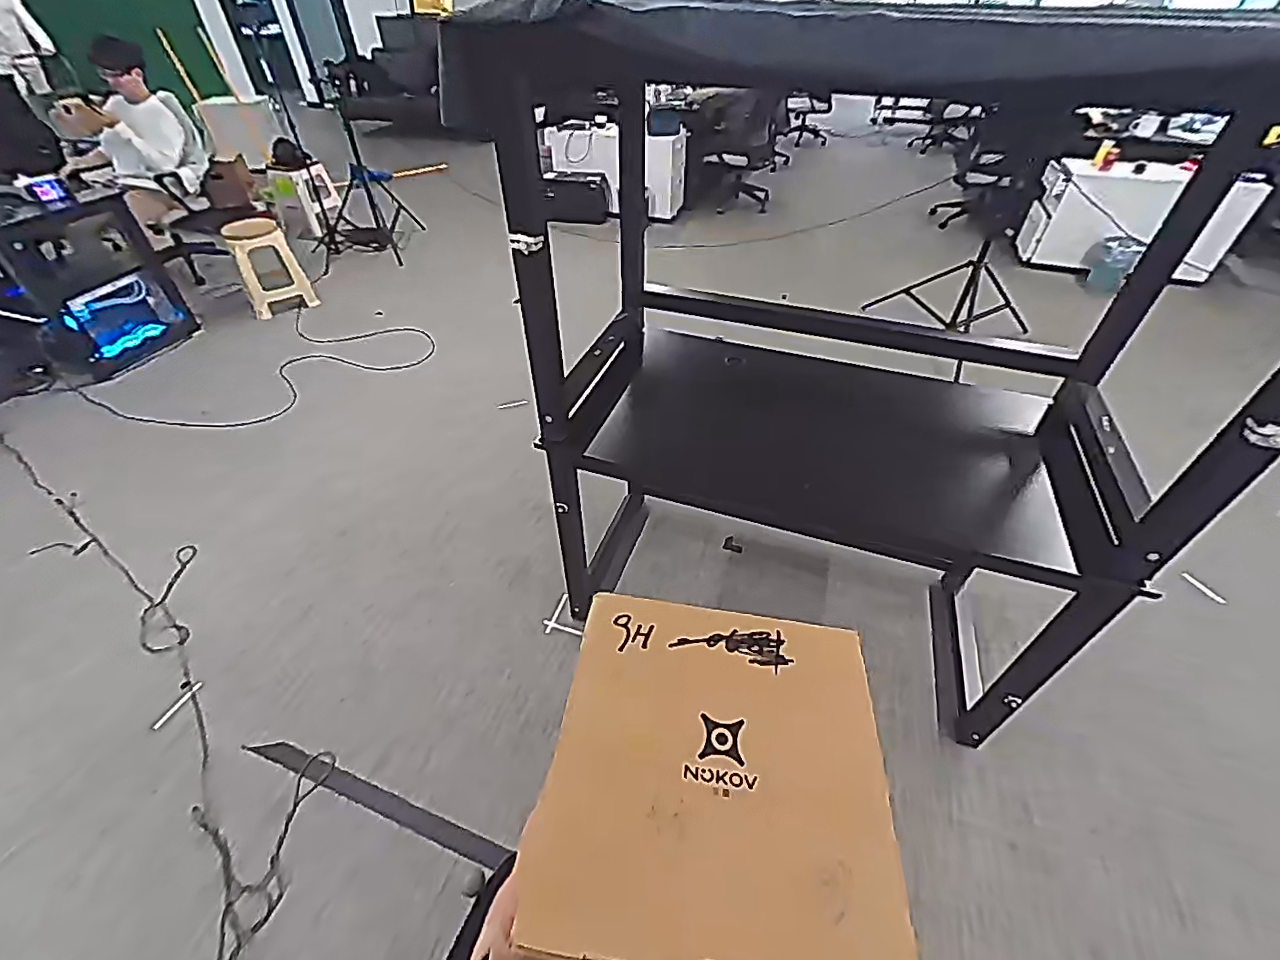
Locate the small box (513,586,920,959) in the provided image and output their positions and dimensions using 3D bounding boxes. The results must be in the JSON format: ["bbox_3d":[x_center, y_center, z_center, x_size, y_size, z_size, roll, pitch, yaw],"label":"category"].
[{"bbox_3d":[0.038,0.193,0.323,0.168,0.176,0.179,9,44,3],"label":"small box"}]
